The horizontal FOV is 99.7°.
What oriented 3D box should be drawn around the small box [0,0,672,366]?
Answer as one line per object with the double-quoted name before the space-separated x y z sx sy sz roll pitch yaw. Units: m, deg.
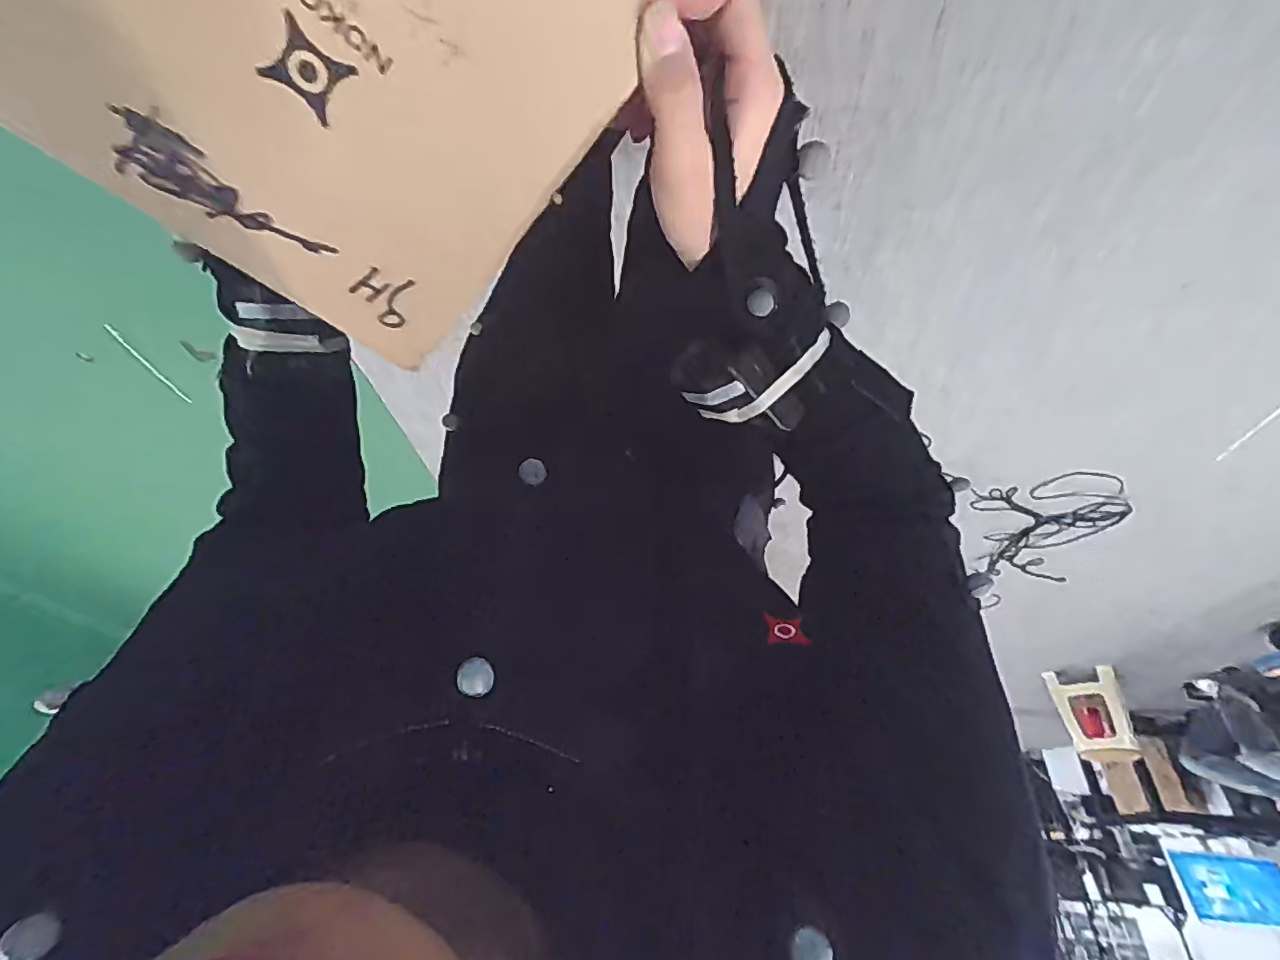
"small box" -0.117 -0.193 0.238 0.168 0.176 0.179 34 115 -32
